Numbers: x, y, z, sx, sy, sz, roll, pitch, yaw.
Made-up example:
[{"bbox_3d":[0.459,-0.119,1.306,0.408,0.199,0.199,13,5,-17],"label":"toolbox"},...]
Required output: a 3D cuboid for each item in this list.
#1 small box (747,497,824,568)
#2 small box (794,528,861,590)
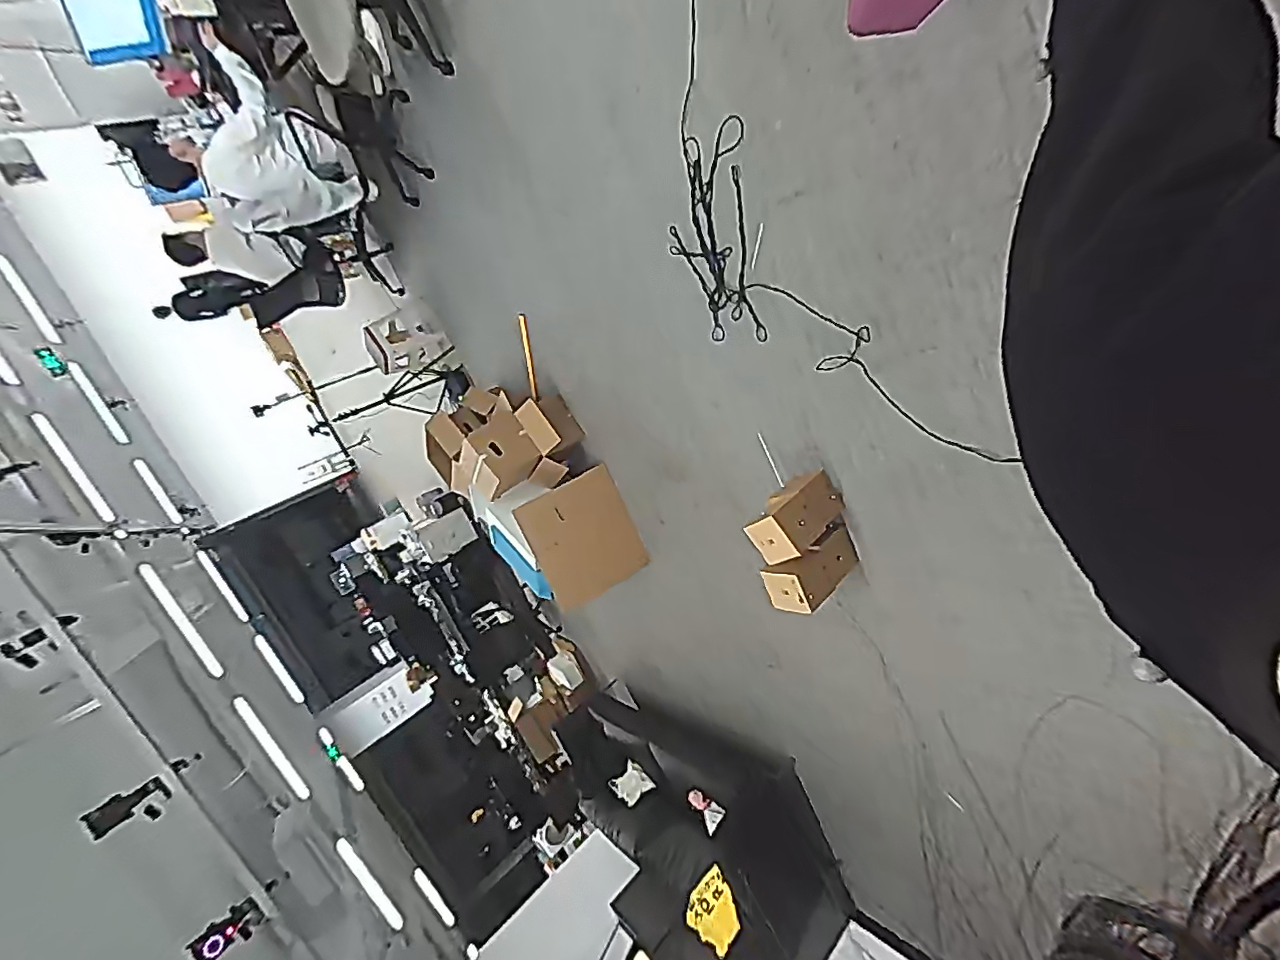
[{"bbox_3d":[0.521,0.183,1.905,0.168,0.176,0.179,55,150,3],"label":"small box"},{"bbox_3d":[0.708,0.293,2.059,0.168,0.176,0.179,-8,111,57],"label":"small box"}]
